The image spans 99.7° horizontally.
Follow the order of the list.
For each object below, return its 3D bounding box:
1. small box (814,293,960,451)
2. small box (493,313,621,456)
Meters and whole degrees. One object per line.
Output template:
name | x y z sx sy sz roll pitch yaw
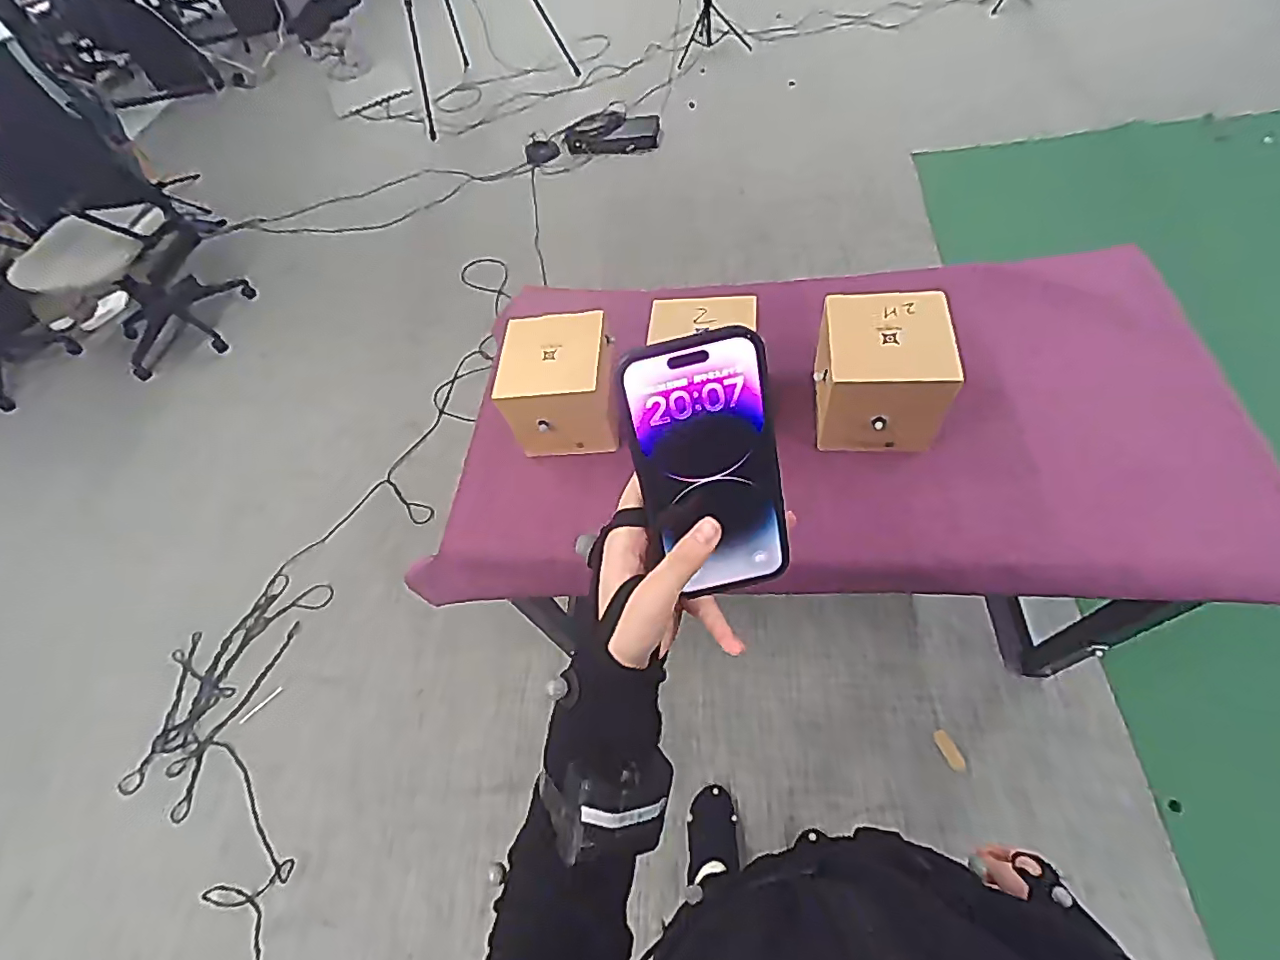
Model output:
small box | 0.363 -0.158 0.826 0.168 0.176 0.179 2 58 11
small box | -0.129 -0.153 0.920 0.168 0.176 0.179 -4 57 9
